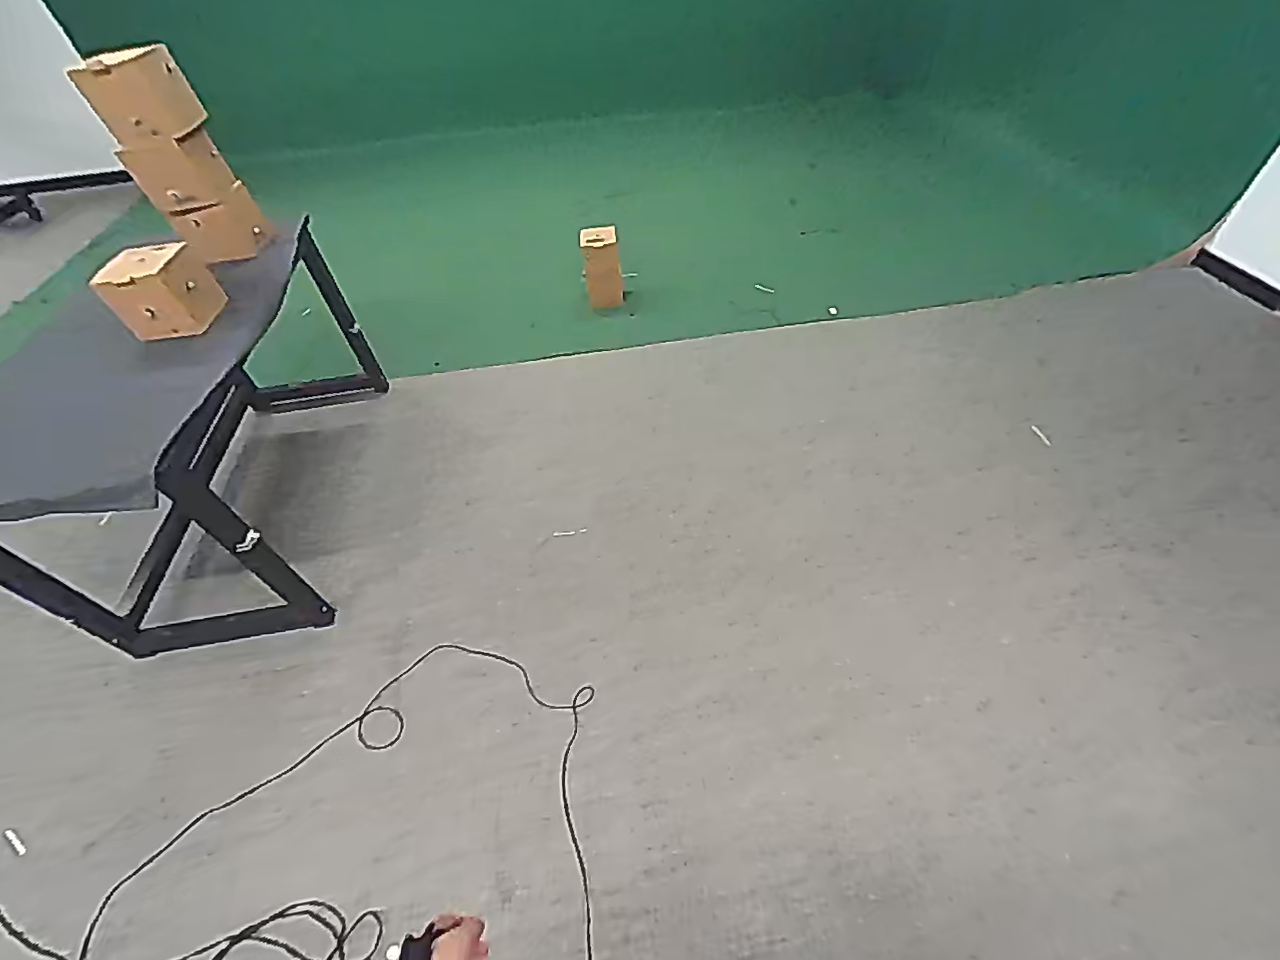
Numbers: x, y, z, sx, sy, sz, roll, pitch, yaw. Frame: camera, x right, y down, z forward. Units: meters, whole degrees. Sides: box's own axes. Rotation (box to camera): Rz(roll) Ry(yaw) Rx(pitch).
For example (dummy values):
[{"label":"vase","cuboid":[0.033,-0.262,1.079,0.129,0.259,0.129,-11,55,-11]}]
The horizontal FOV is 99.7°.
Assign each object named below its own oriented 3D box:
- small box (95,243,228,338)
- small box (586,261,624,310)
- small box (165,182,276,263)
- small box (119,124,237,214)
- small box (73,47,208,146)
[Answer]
[{"label":"small box","cuboid":[-1.224,-0.485,1.403,0.168,0.176,0.179,-8,50,-1]},{"label":"small box","cuboid":[-0.173,-0.976,2.716,0.179,0.176,0.168,-6,50,0]},{"label":"small box","cuboid":[-1.281,-0.788,1.664,0.179,0.176,0.168,-5,50,2]},{"label":"small box","cuboid":[-1.294,-0.884,1.534,0.168,0.176,0.179,-12,51,-2]},{"label":"small box","cuboid":[-1.291,-1.003,1.418,0.168,0.176,0.179,-9,50,2]}]
